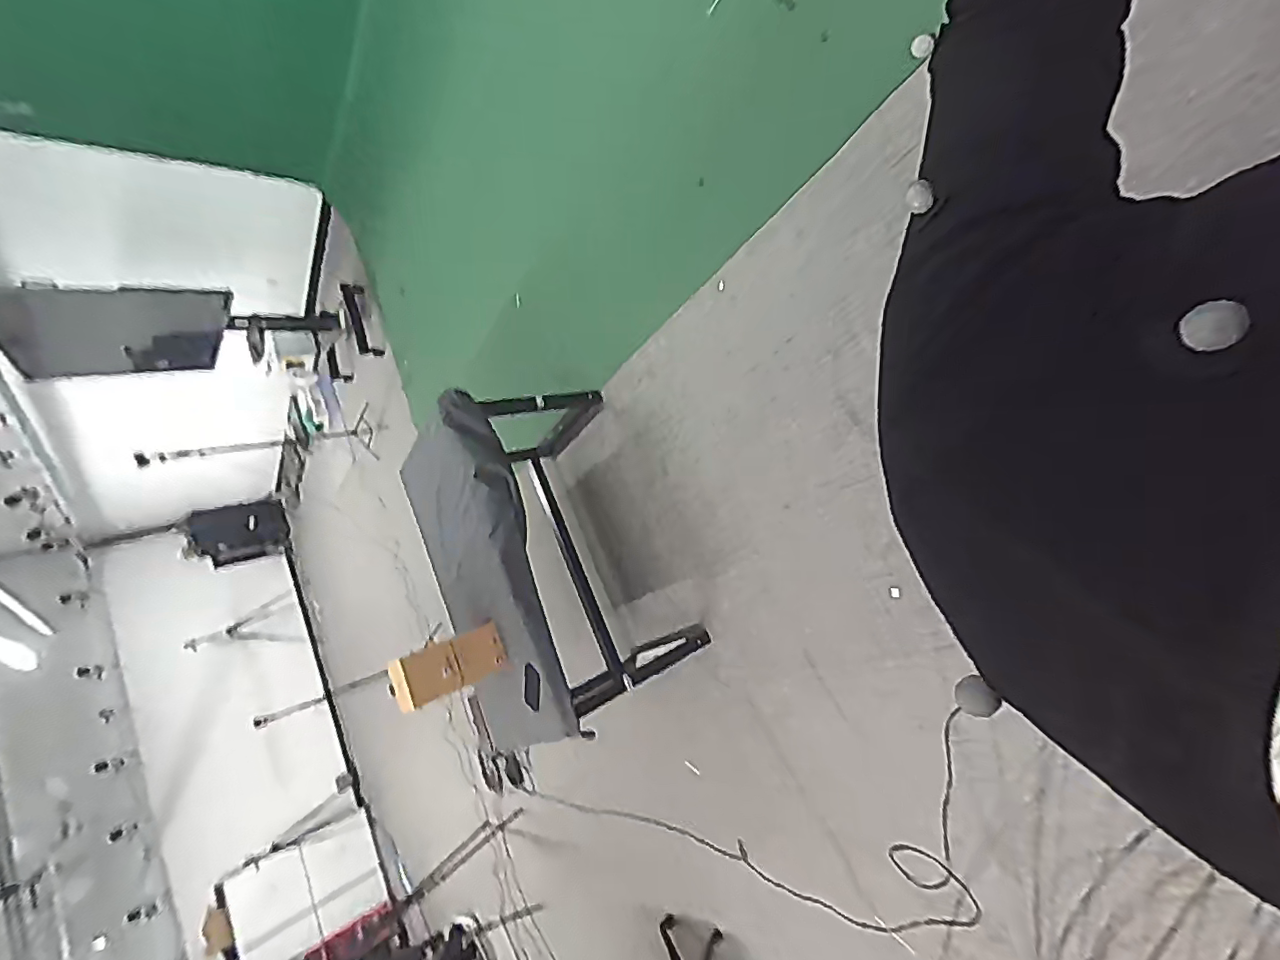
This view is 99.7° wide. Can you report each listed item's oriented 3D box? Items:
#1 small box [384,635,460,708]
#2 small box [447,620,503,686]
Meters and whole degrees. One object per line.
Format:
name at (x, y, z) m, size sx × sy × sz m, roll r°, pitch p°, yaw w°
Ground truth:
small box at (-0.713, 0.626, 1.772) m, size 0.179 × 0.176 × 0.168 m, roll -35°, pitch 75°, yaw 46°
small box at (-0.596, 0.602, 1.882) m, size 0.179 × 0.176 × 0.168 m, roll -34°, pitch 74°, yaw 48°
